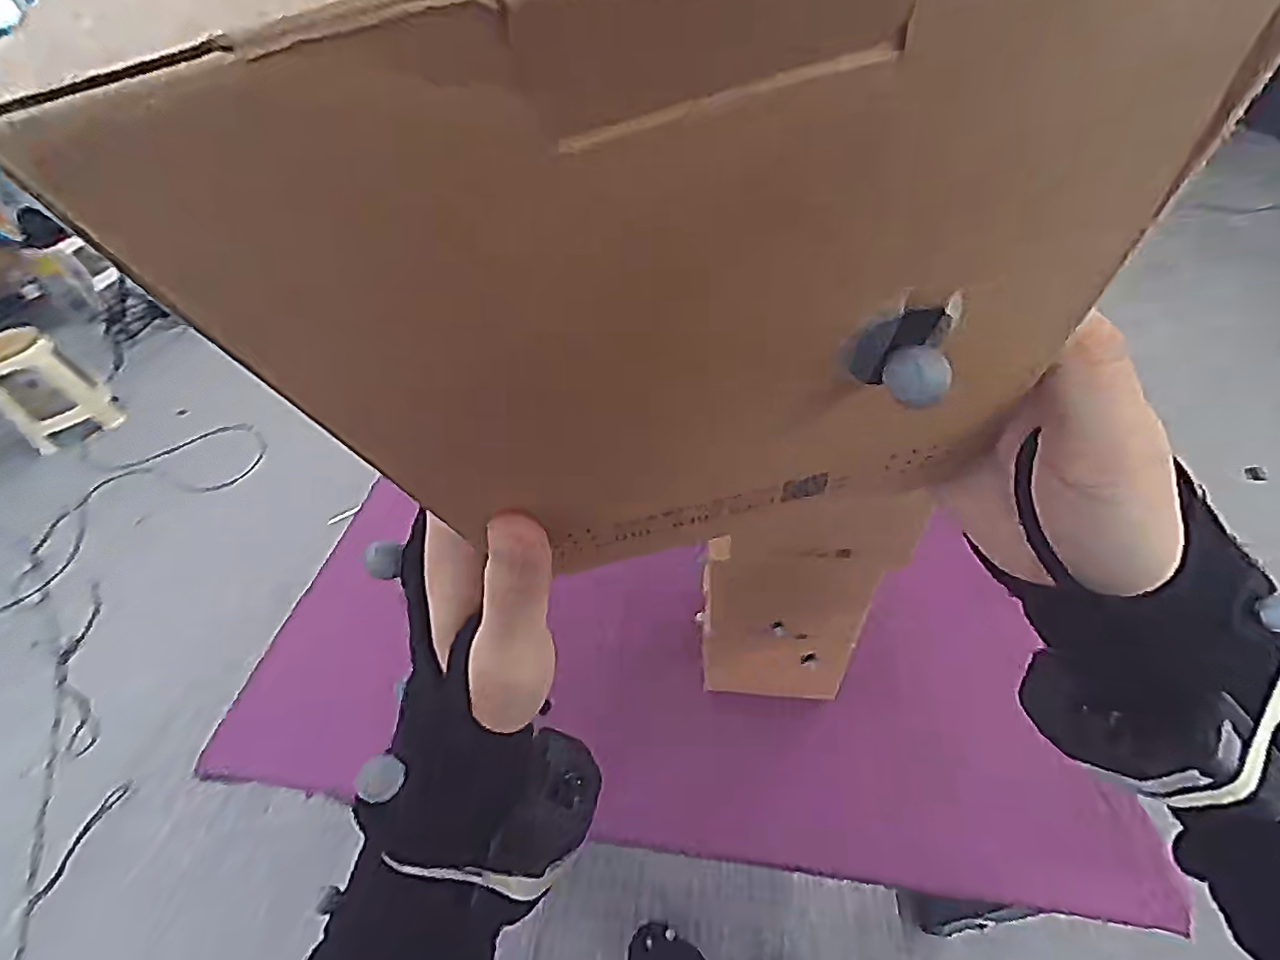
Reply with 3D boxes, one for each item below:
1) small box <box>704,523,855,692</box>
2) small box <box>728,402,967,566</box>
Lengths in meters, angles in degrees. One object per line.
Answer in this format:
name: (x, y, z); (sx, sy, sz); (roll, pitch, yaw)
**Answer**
small box: (0.182, 0.177, 0.745); (0.179, 0.176, 0.168); (1, 47, 10)
small box: (0.167, -0.043, 0.503); (0.168, 0.176, 0.179); (1, 47, 9)
